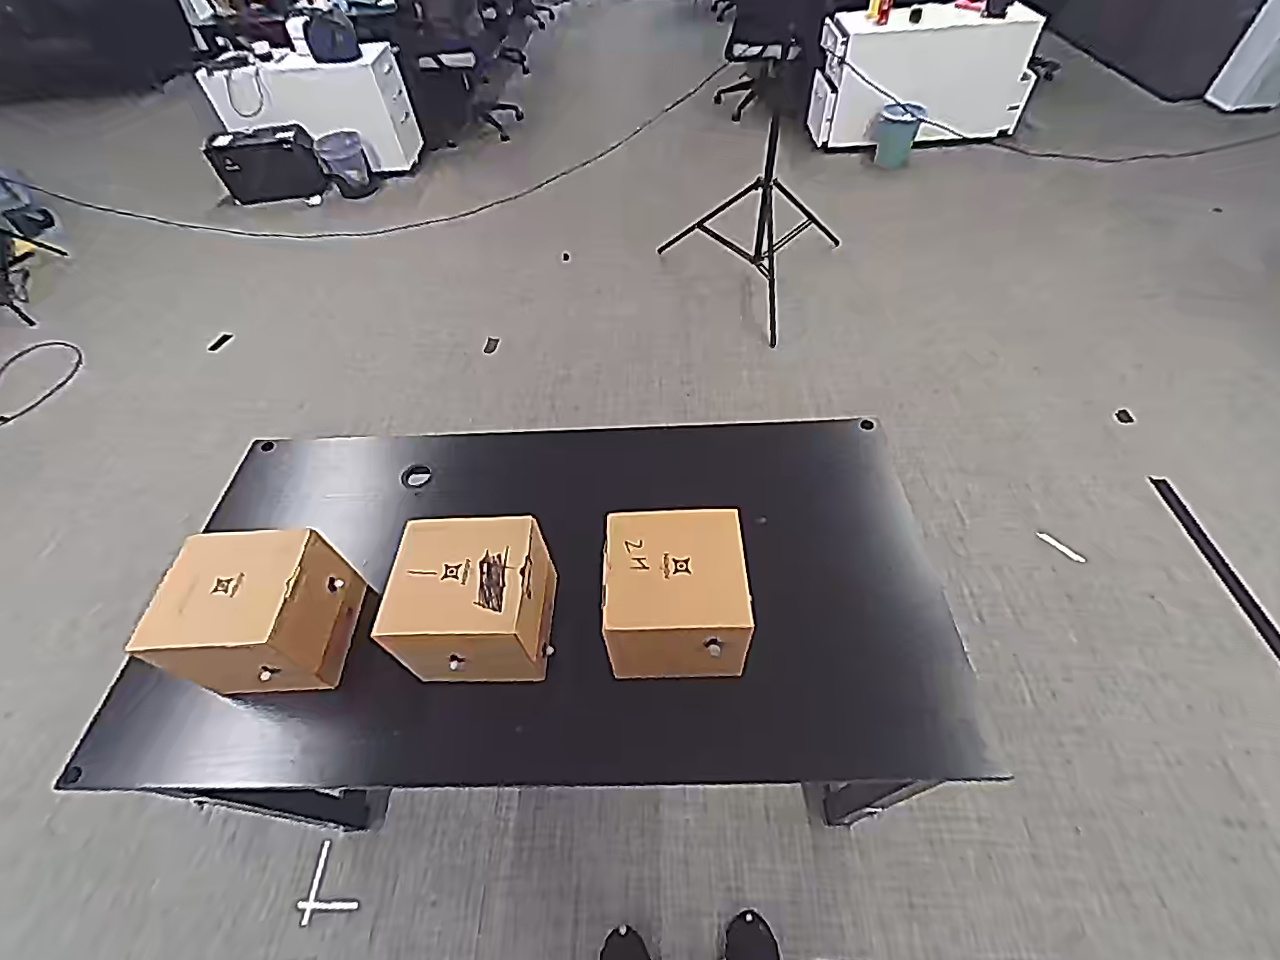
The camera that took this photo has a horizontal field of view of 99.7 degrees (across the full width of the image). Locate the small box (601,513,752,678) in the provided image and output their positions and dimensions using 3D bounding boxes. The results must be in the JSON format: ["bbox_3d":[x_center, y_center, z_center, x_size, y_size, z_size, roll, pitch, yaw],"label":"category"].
[{"bbox_3d":[0.046,0.159,0.731,0.179,0.176,0.168,-2,51,3],"label":"small box"}]

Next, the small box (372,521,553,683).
[{"bbox_3d":[-0.224,0.170,0.743,0.179,0.176,0.168,-2,52,4],"label":"small box"}]

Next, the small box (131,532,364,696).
[{"bbox_3d":[-0.518,0.189,0.751,0.179,0.176,0.168,-4,51,1],"label":"small box"}]
